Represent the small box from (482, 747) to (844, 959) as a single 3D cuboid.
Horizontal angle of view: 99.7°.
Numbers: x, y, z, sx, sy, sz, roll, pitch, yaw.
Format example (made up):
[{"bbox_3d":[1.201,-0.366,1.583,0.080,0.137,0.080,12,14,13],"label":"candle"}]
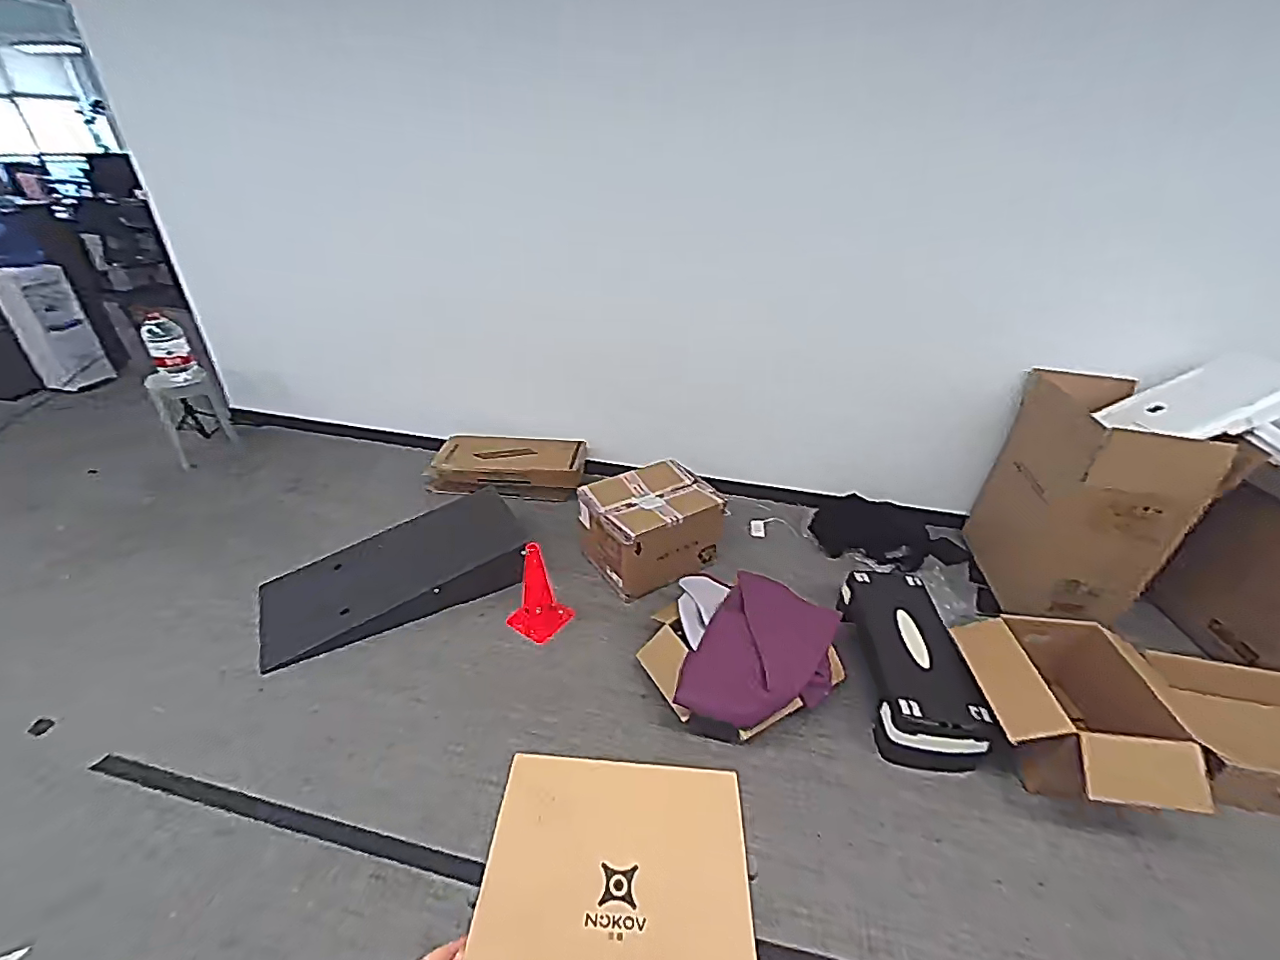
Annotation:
[{"bbox_3d":[0.006,0.278,0.290,0.168,0.176,0.179,4,32,0],"label":"small box"}]
